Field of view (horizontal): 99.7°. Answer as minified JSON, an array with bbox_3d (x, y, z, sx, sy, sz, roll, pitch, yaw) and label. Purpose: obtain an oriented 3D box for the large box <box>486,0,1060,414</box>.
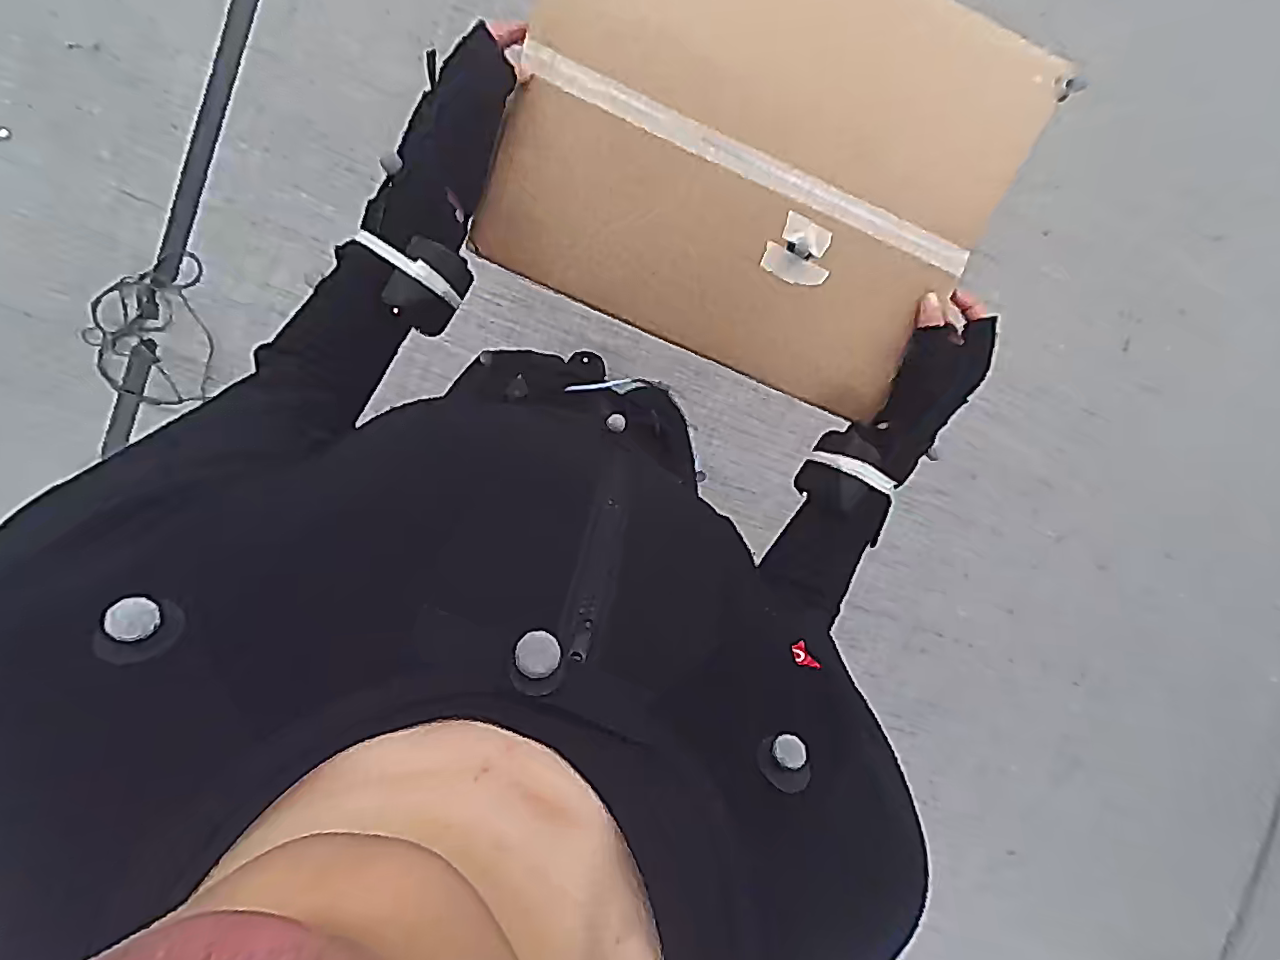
[{"bbox_3d":[0.101,-0.315,0.599,0.408,0.320,0.320,23,109,-7],"label":"large box"}]
